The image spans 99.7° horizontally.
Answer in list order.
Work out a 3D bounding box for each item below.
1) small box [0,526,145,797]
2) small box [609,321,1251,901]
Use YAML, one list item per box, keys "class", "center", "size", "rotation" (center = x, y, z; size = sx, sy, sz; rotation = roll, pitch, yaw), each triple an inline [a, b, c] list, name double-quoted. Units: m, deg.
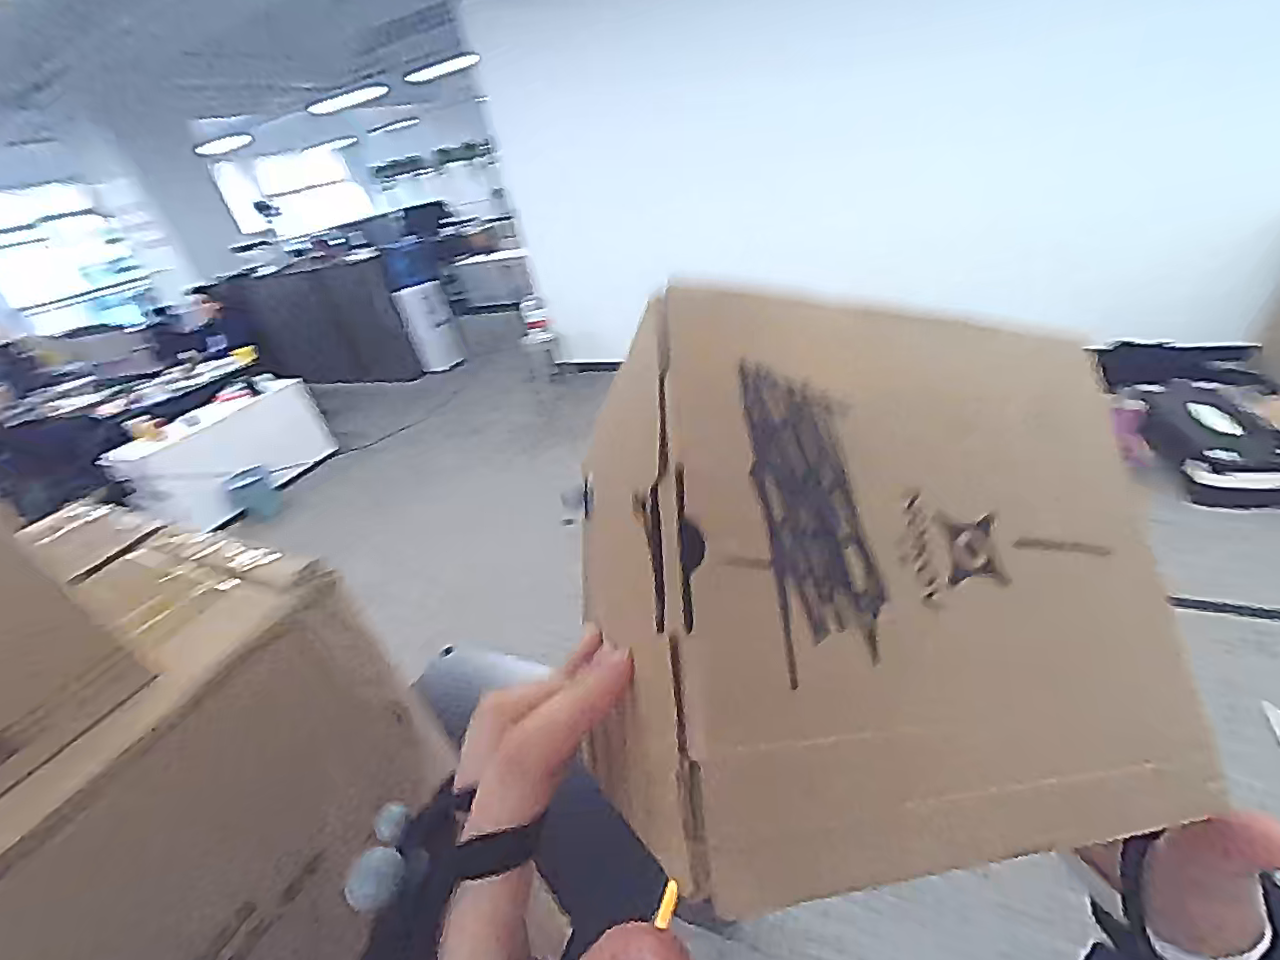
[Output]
- class: "small box"
  center: [-0.388, 0.078, 0.234]
  size: [0.179, 0.176, 0.168]
  rotation: [7, 38, 27]
- class: "small box"
  center: [0.081, 0.053, 0.244]
  size: [0.179, 0.176, 0.168]
  rotation: [3, 72, -13]
